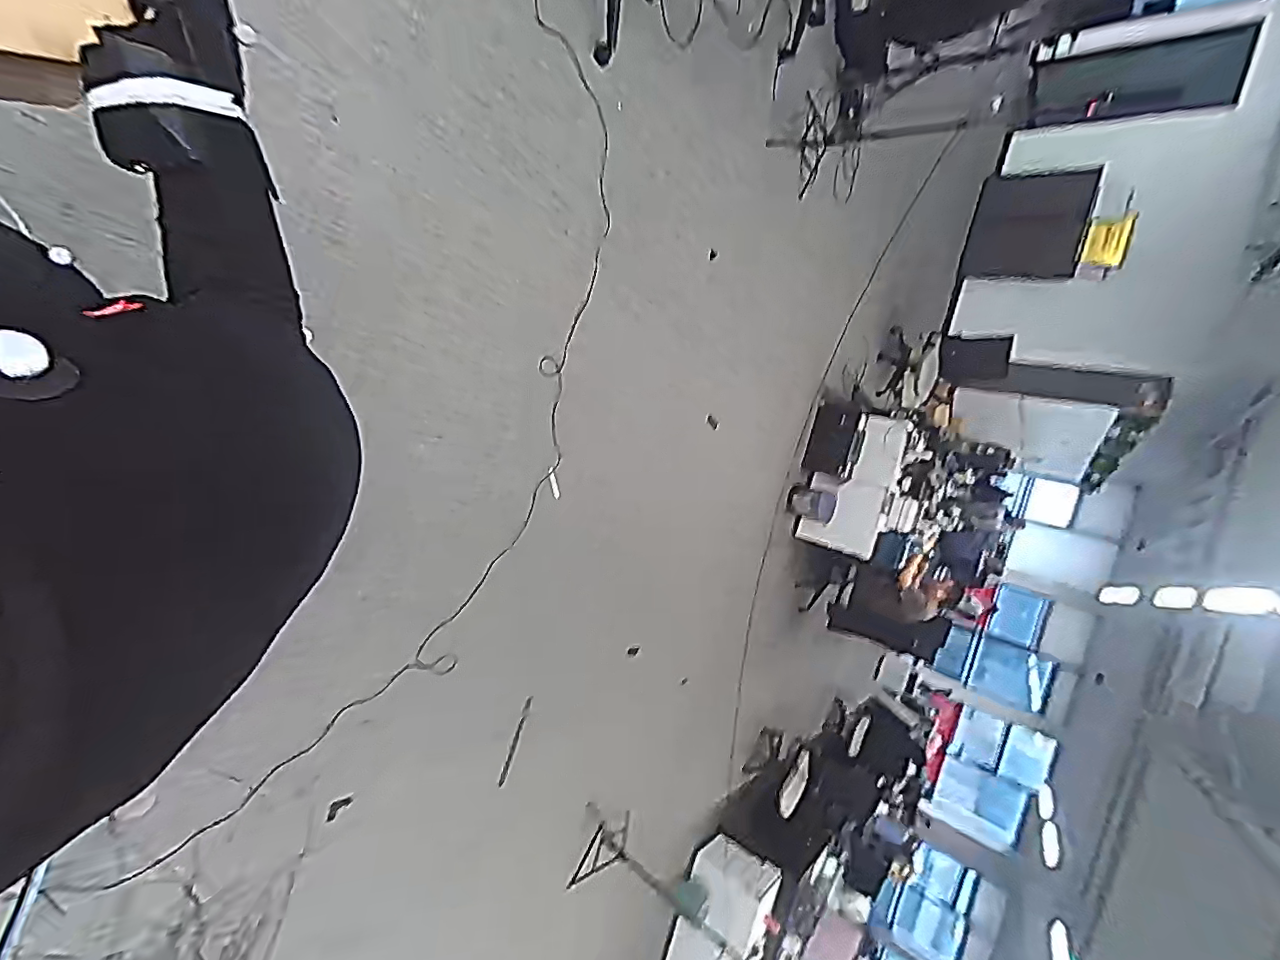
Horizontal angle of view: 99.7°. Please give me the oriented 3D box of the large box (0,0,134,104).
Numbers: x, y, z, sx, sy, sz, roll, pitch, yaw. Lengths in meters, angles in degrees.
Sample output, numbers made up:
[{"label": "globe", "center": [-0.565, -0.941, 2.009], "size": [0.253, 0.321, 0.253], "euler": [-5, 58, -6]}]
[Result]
[{"label": "large box", "center": [-0.577, -0.392, 0.244], "size": [0.408, 0.320, 0.320], "euler": [-27, 130, -44]}]
